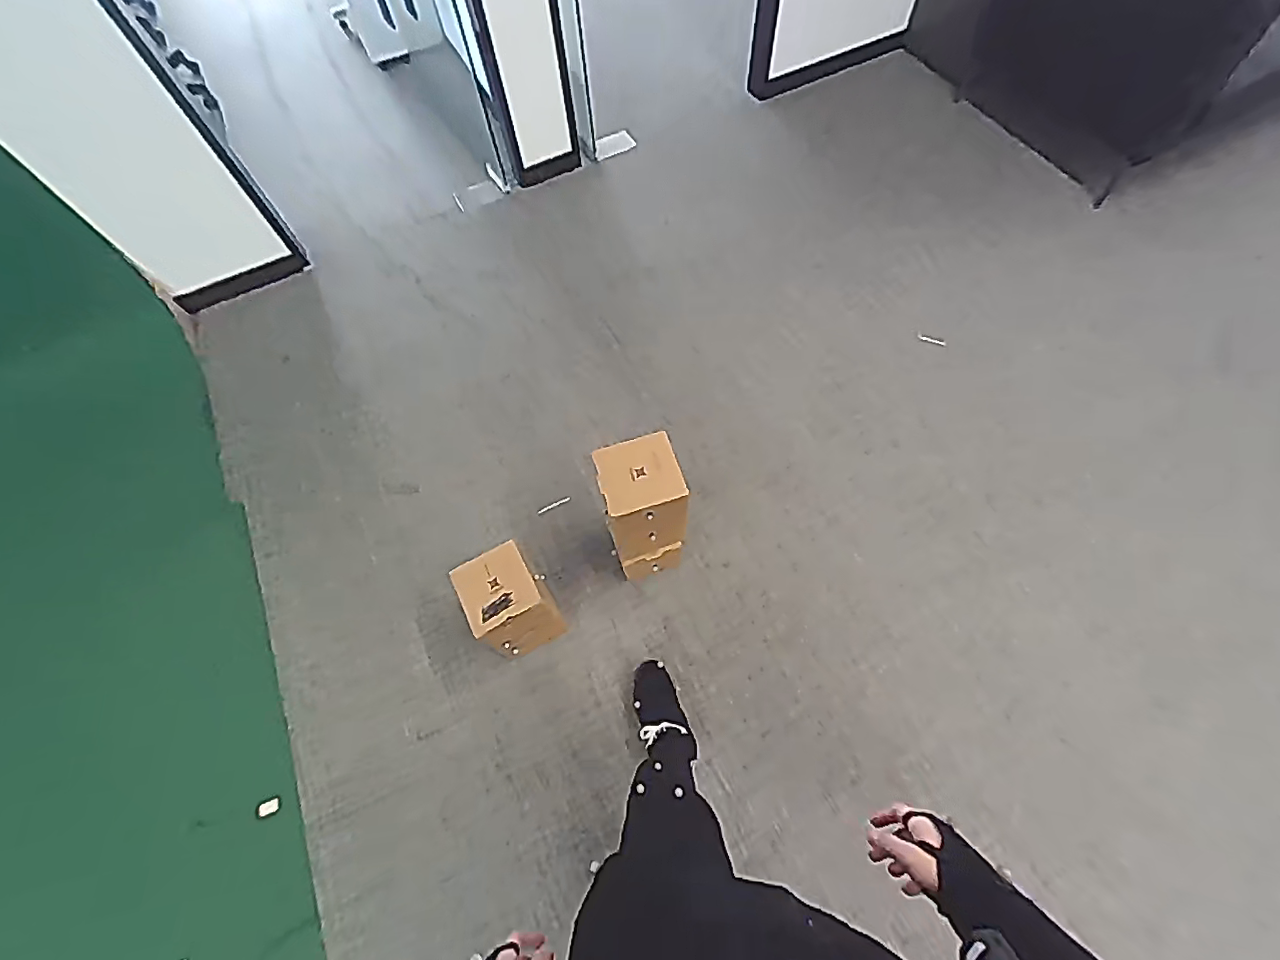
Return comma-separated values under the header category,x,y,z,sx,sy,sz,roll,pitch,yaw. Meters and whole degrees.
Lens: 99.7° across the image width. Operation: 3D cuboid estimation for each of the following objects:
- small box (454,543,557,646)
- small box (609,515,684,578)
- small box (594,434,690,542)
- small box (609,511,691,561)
category,x,y,z,sx,sy,sz,roll,pitch,yaw
small box,-0.317,0.285,1.307,0.168,0.176,0.179,-28,65,-10
small box,0.020,0.166,1.527,0.168,0.176,0.179,-18,66,-6
small box,0.008,0.025,1.234,0.179,0.176,0.168,-16,65,-4
small box,0.017,0.086,1.385,0.179,0.176,0.168,-20,65,-6
